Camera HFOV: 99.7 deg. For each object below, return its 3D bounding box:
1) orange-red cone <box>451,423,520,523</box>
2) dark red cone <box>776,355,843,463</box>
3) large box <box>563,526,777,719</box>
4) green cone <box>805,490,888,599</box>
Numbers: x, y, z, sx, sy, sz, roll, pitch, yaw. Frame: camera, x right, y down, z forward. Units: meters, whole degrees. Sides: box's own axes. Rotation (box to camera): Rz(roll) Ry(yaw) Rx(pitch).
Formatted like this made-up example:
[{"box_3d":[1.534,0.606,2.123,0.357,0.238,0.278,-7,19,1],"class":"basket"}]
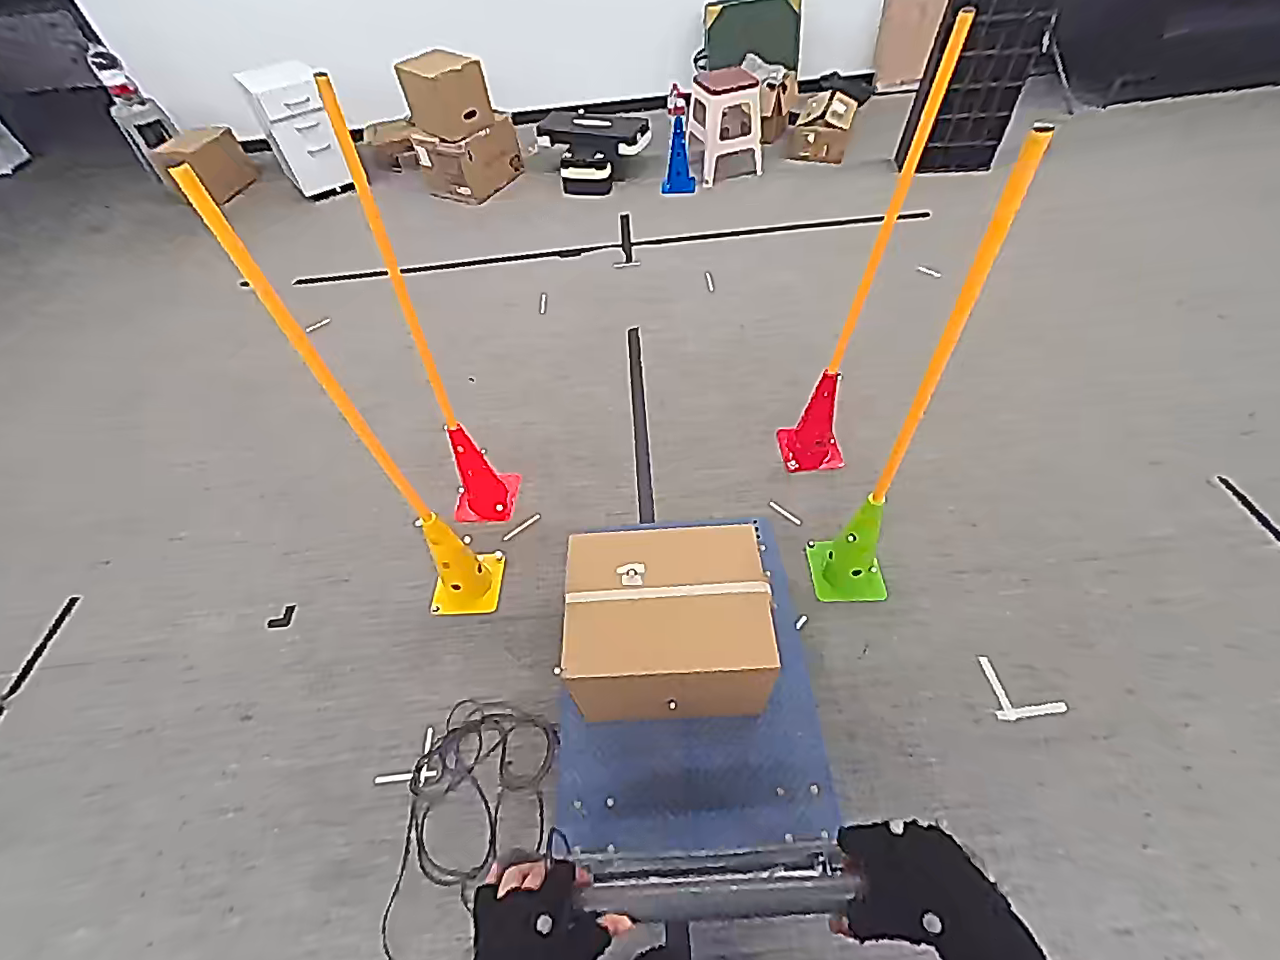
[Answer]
[{"box_3d":[-0.535,-0.047,1.734,0.198,0.360,0.199,1,50,5],"class":"orange-red cone"},{"box_3d":[0.583,-0.236,1.759,0.201,0.394,0.202,-4,52,-1],"class":"dark red cone"},{"box_3d":[0.062,0.325,1.200,0.408,0.320,0.320,-4,52,3],"class":"large box"},{"box_3d":[0.596,0.154,1.470,0.202,0.368,0.200,-2,52,2],"class":"green cone"}]
